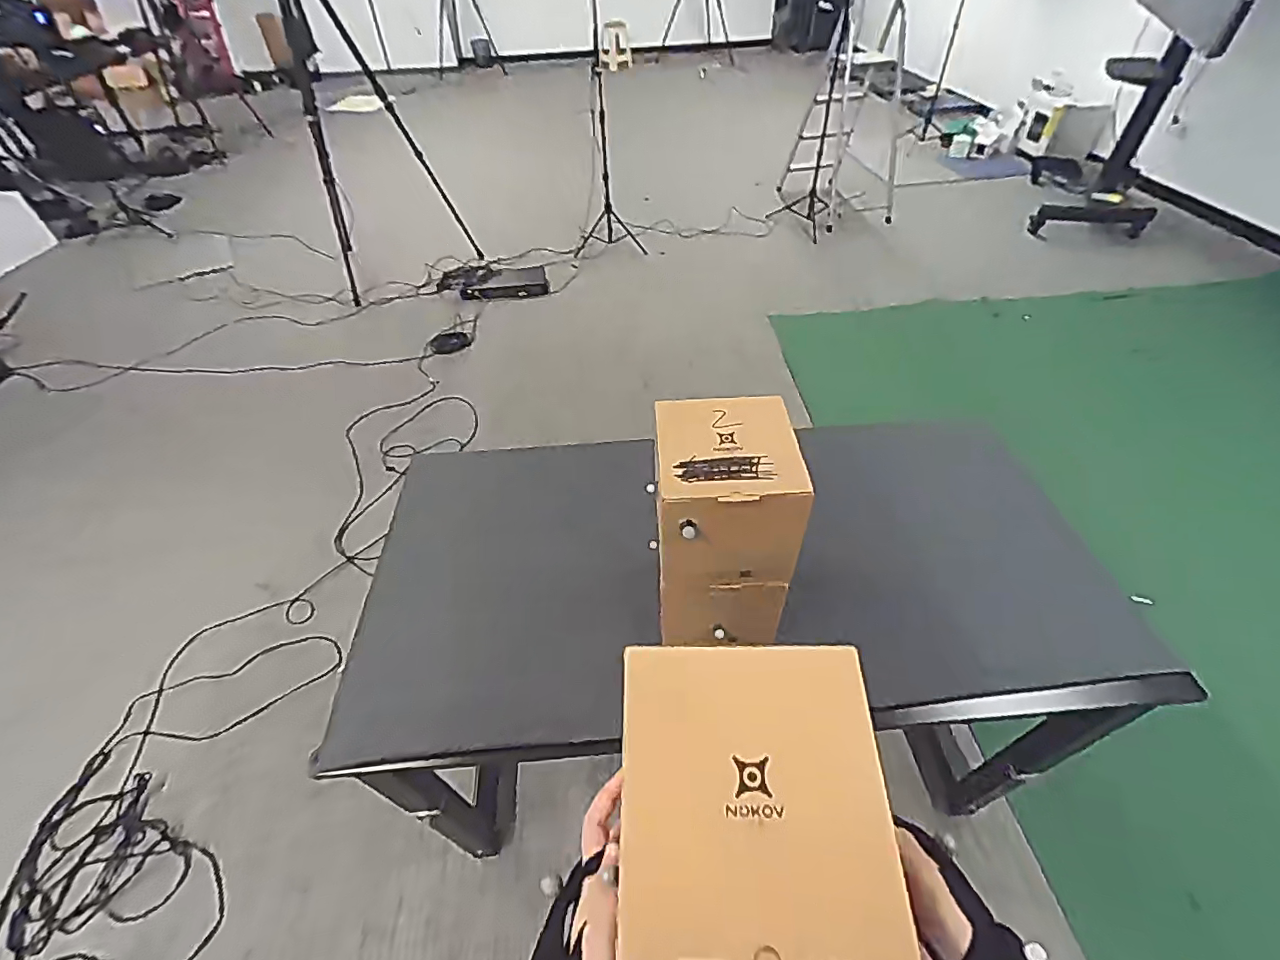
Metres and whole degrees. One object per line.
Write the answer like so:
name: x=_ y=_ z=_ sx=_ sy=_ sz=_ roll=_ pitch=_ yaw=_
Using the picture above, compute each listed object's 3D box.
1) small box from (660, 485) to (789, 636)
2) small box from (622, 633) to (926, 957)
small box: x=0.114 y=0.126 z=0.809 sx=0.168 sy=0.176 sz=0.179 roll=-2 pitch=46 yaw=2
small box: x=0.074 y=0.227 z=0.402 sx=0.168 sy=0.176 sz=0.179 roll=-1 pitch=56 yaw=2
